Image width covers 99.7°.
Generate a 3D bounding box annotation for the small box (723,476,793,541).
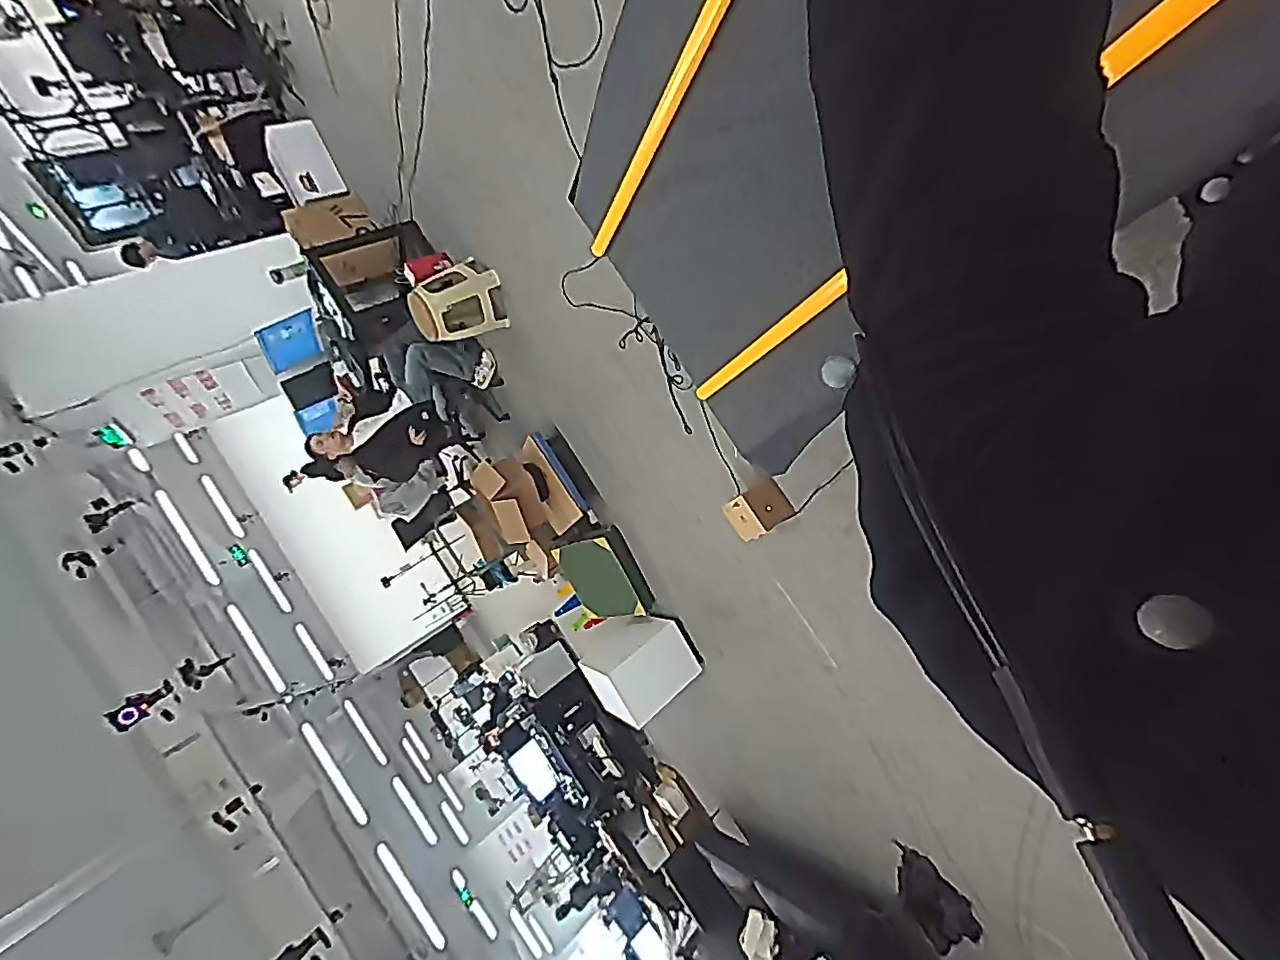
[{"bbox_3d":[0.474,0.112,2.151,0.179,0.176,0.168,55,152,5],"label":"small box"}]
